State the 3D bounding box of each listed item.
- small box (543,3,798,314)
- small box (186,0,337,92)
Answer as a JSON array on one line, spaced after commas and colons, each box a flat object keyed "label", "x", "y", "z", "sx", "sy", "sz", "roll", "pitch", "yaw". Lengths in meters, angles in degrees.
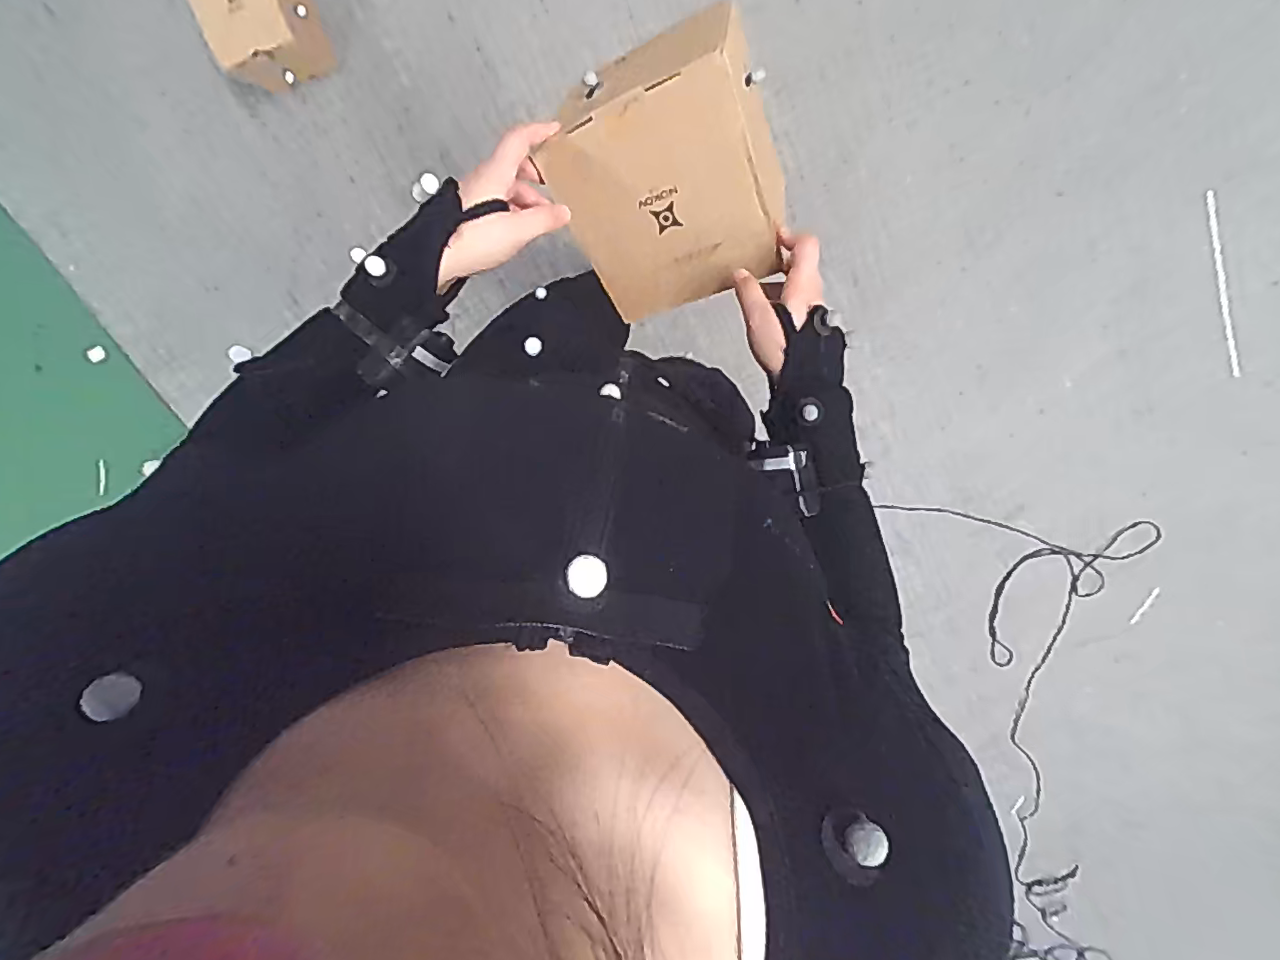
[{"label": "small box", "x": 0.041, "y": -0.293, "z": 0.499, "sx": 0.168, "sy": 0.176, "sz": 0.179, "roll": -11, "pitch": 138, "yaw": 26}, {"label": "small box", "x": -0.751, "y": -0.908, "z": 1.081, "sx": 0.168, "sy": 0.176, "sz": 0.179, "roll": -14, "pitch": 112, "yaw": 7}]
